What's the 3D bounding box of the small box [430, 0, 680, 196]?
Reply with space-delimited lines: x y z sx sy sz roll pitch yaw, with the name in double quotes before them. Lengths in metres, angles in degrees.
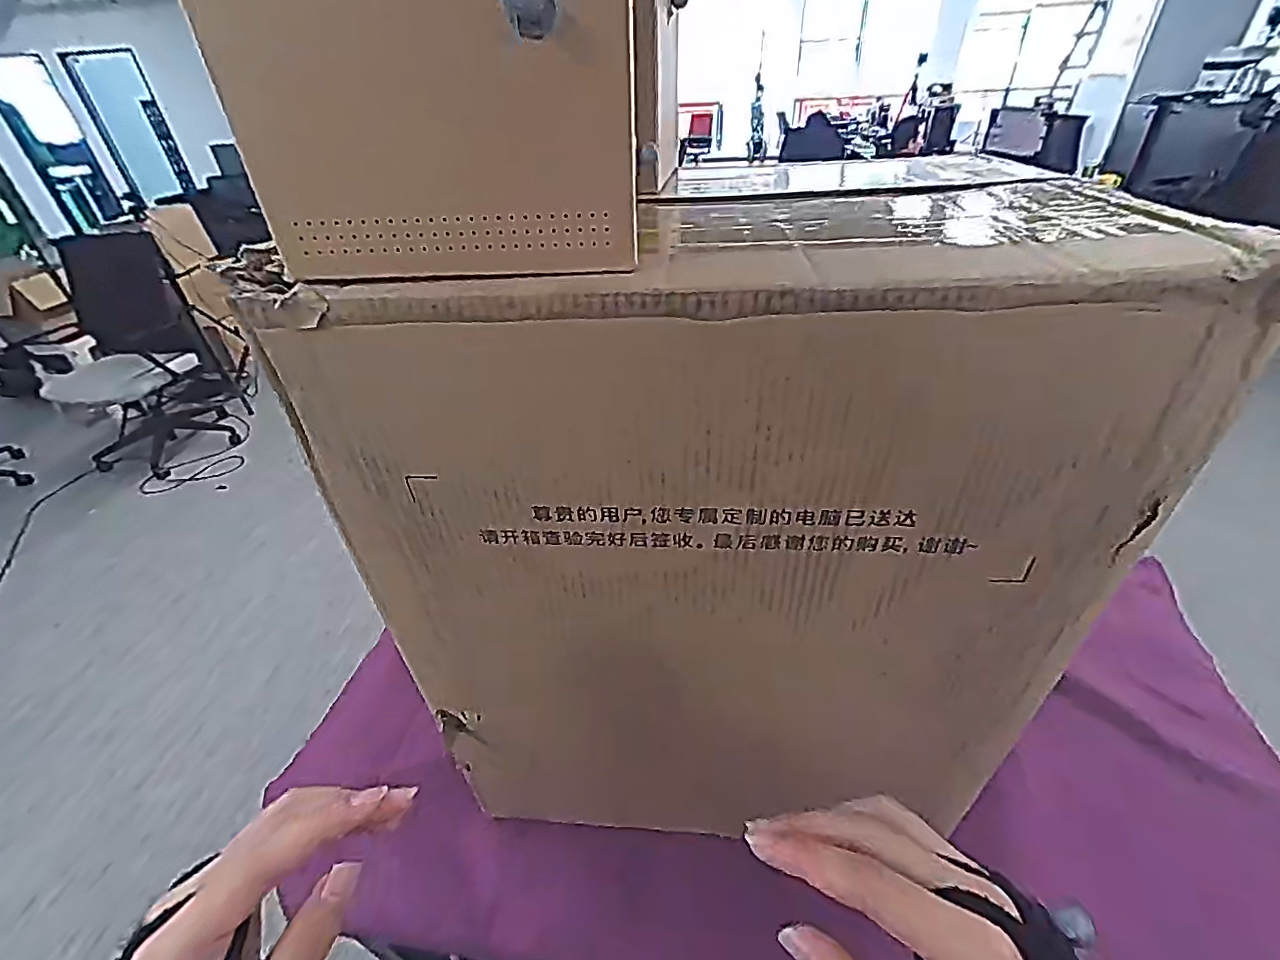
"small box" -0.055 -0.348 0.463 0.168 0.176 0.179 4 36 8
